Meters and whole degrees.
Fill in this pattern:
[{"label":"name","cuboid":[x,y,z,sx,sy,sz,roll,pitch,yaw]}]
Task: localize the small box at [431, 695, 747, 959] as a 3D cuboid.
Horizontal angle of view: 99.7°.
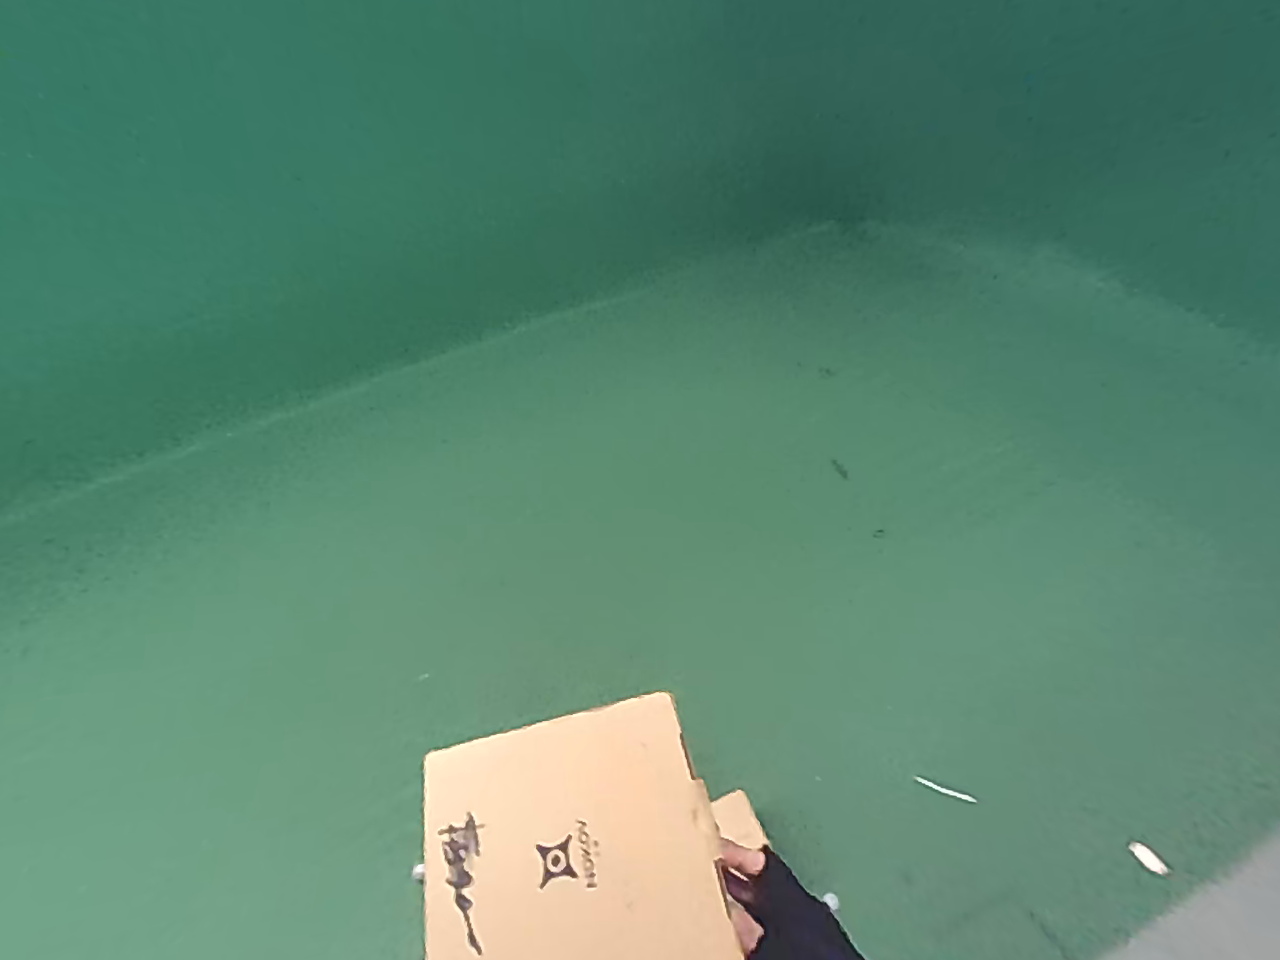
[{"label":"small box","cuboid":[-0.042,0.283,0.398,0.179,0.176,0.168,-11,51,-9]}]
